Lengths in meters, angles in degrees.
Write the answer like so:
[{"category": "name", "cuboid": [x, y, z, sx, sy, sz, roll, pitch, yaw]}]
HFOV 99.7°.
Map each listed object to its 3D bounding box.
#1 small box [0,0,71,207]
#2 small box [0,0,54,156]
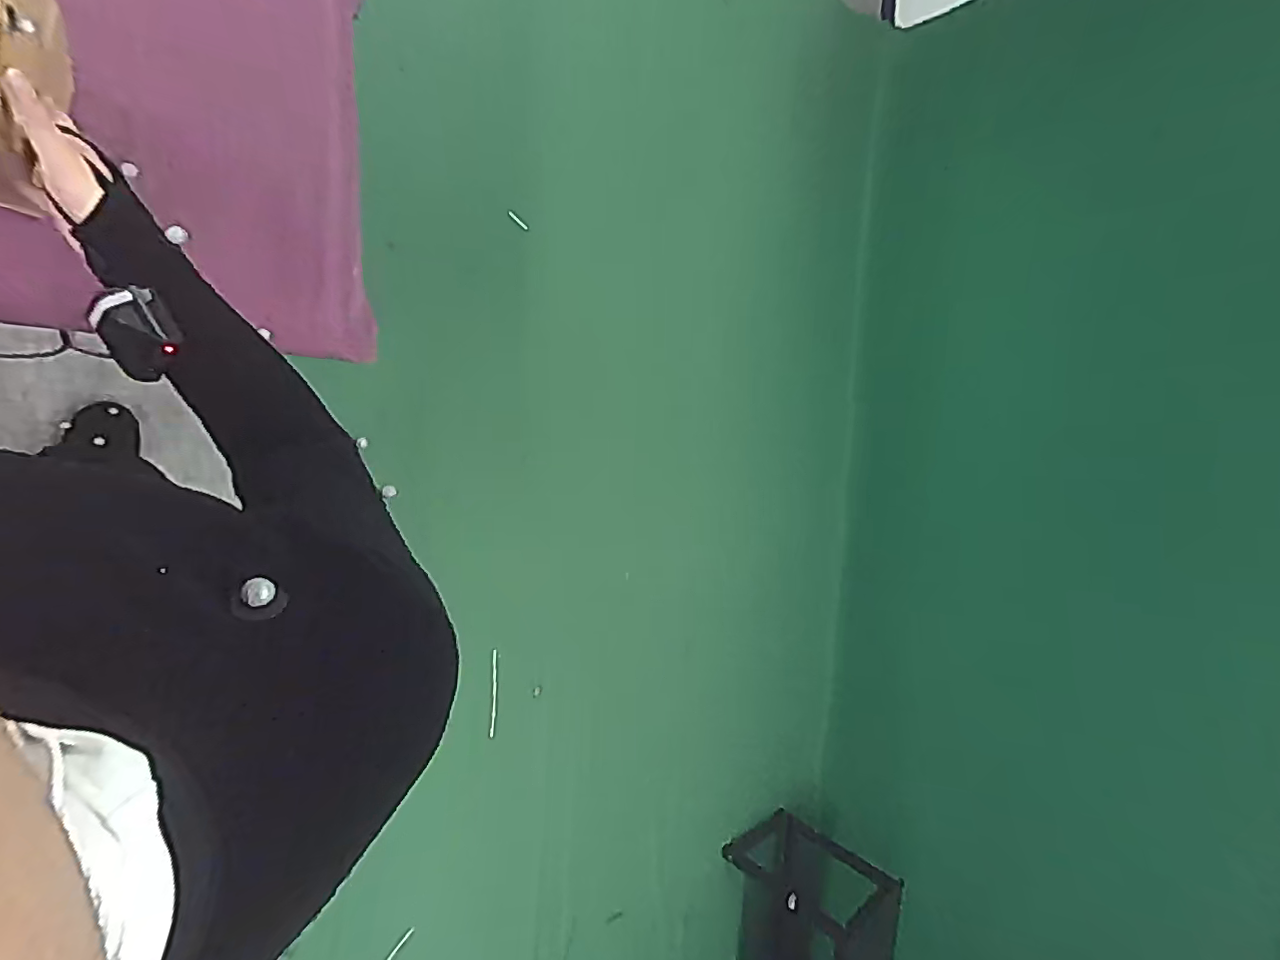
[{"category": "small box", "cuboid": [-0.668, -0.382, 0.495, 0.179, 0.176, 0.168, 12, 88, -44]}, {"category": "small box", "cuboid": [-0.557, -0.365, 0.376, 0.179, 0.176, 0.168, 8, 91, -42]}]
